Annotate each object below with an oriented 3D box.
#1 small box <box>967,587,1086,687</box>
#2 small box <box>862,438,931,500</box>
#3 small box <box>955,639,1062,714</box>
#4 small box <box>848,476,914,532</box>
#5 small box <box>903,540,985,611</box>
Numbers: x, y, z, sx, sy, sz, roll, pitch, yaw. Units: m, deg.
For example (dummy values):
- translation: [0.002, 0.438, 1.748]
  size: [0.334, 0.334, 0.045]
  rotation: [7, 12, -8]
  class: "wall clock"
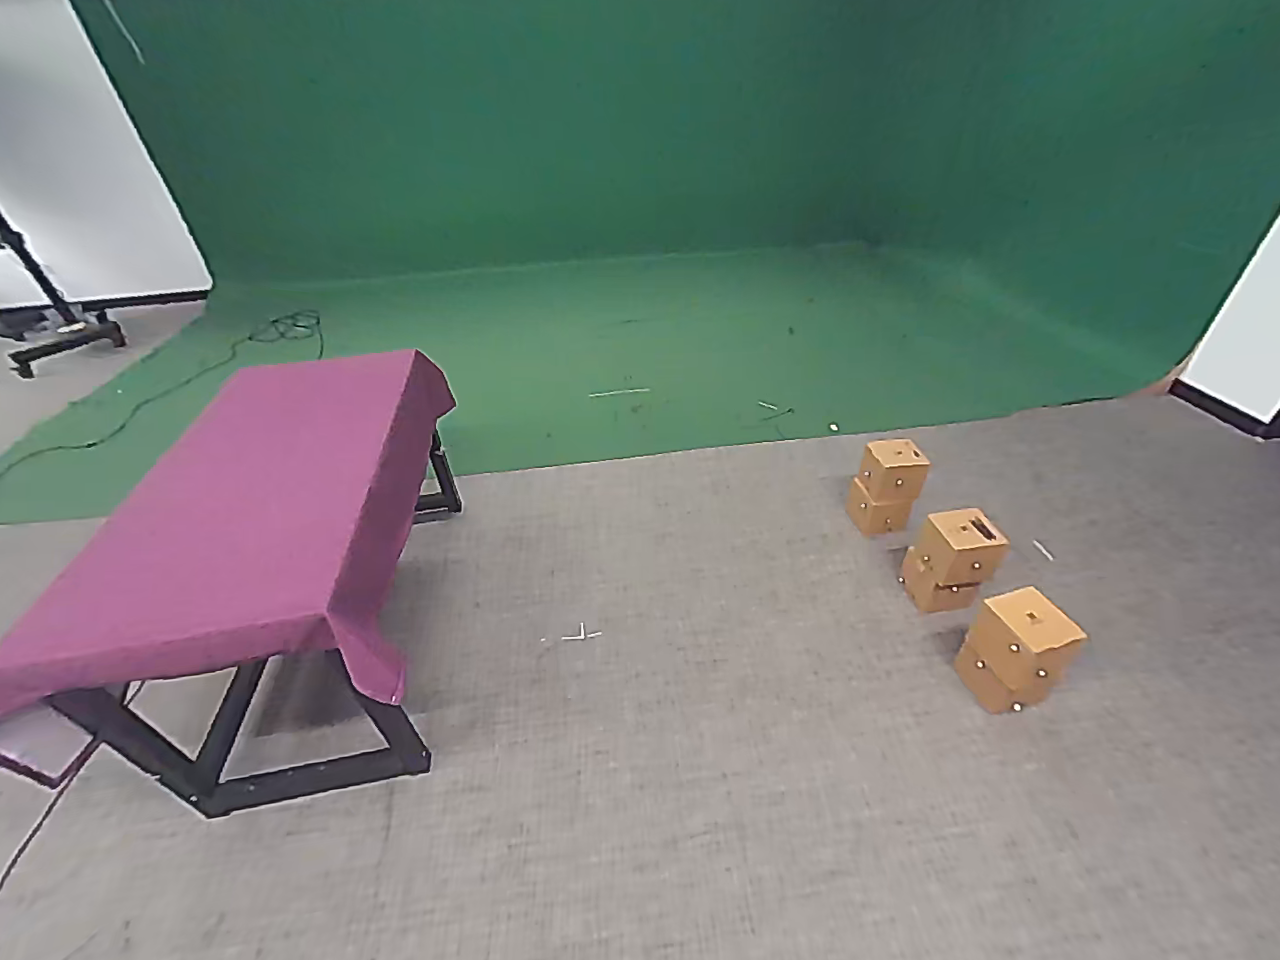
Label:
- translation: [1.035, 0.426, 1.469]
  size: [0.168, 0.176, 0.179]
  rotation: [-12, 40, -10]
  class: "small box"
- translation: [0.961, -0.037, 2.051]
  size: [0.179, 0.176, 0.168]
  rotation: [-5, 39, -1]
  class: "small box"
- translation: [1.059, 0.549, 1.573]
  size: [0.168, 0.176, 0.179]
  rotation: [-9, 39, -5]
  class: "small box"
- translation: [0.952, 0.094, 2.150]
  size: [0.168, 0.176, 0.179]
  rotation: [-7, 39, -5]
  class: "small box"
- translation: [1.025, 0.330, 1.849]
  size: [0.179, 0.176, 0.168]
  rotation: [-7, 39, -5]
  class: "small box"
